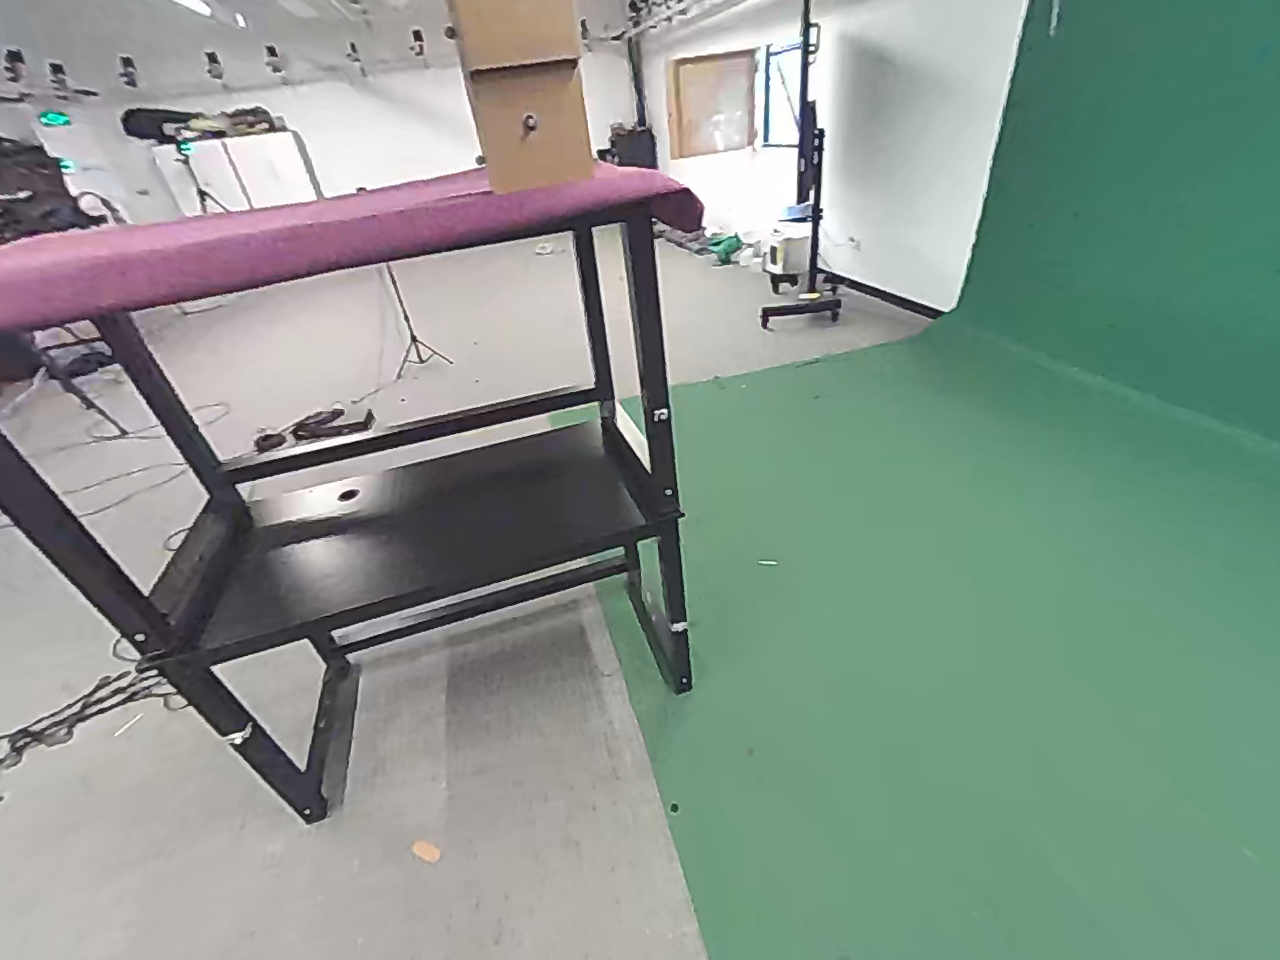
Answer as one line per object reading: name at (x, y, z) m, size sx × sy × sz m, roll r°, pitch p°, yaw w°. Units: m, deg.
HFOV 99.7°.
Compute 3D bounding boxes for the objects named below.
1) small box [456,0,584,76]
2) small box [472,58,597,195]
small box at (-0.189, -0.732, 0.826) m, size 0.179 × 0.176 × 0.168 m, roll -15°, pitch 34°, yaw -10°
small box at (-0.179, -0.607, 0.935) m, size 0.179 × 0.176 × 0.168 m, roll -15°, pitch 35°, yaw -9°
